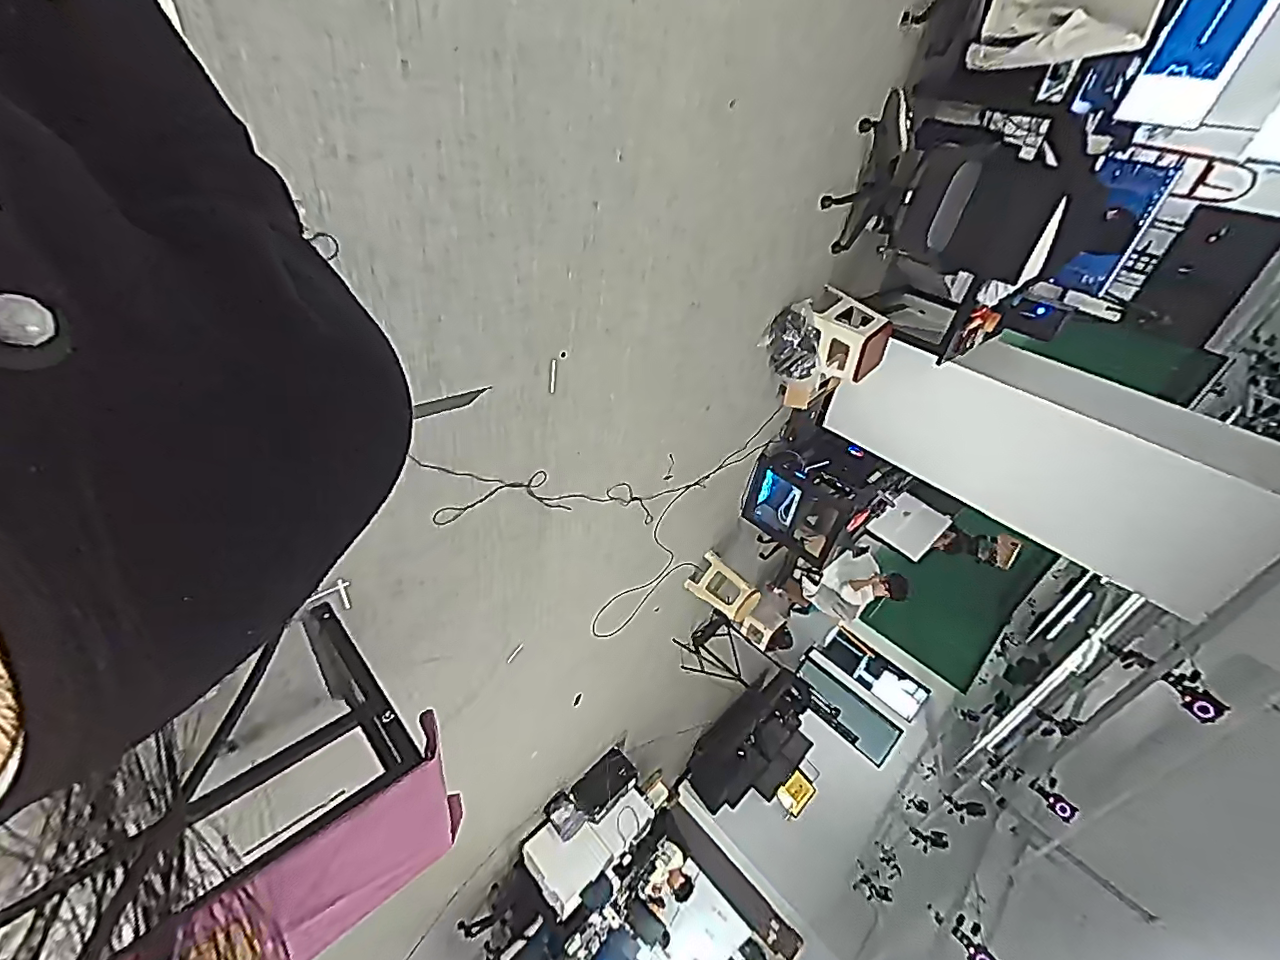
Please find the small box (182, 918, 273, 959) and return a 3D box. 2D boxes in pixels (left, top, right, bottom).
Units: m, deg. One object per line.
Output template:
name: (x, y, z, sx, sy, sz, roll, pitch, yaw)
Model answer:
small box: (-0.917, 1.131, 1.200, 0.168, 0.176, 0.179, -25, 139, -41)
